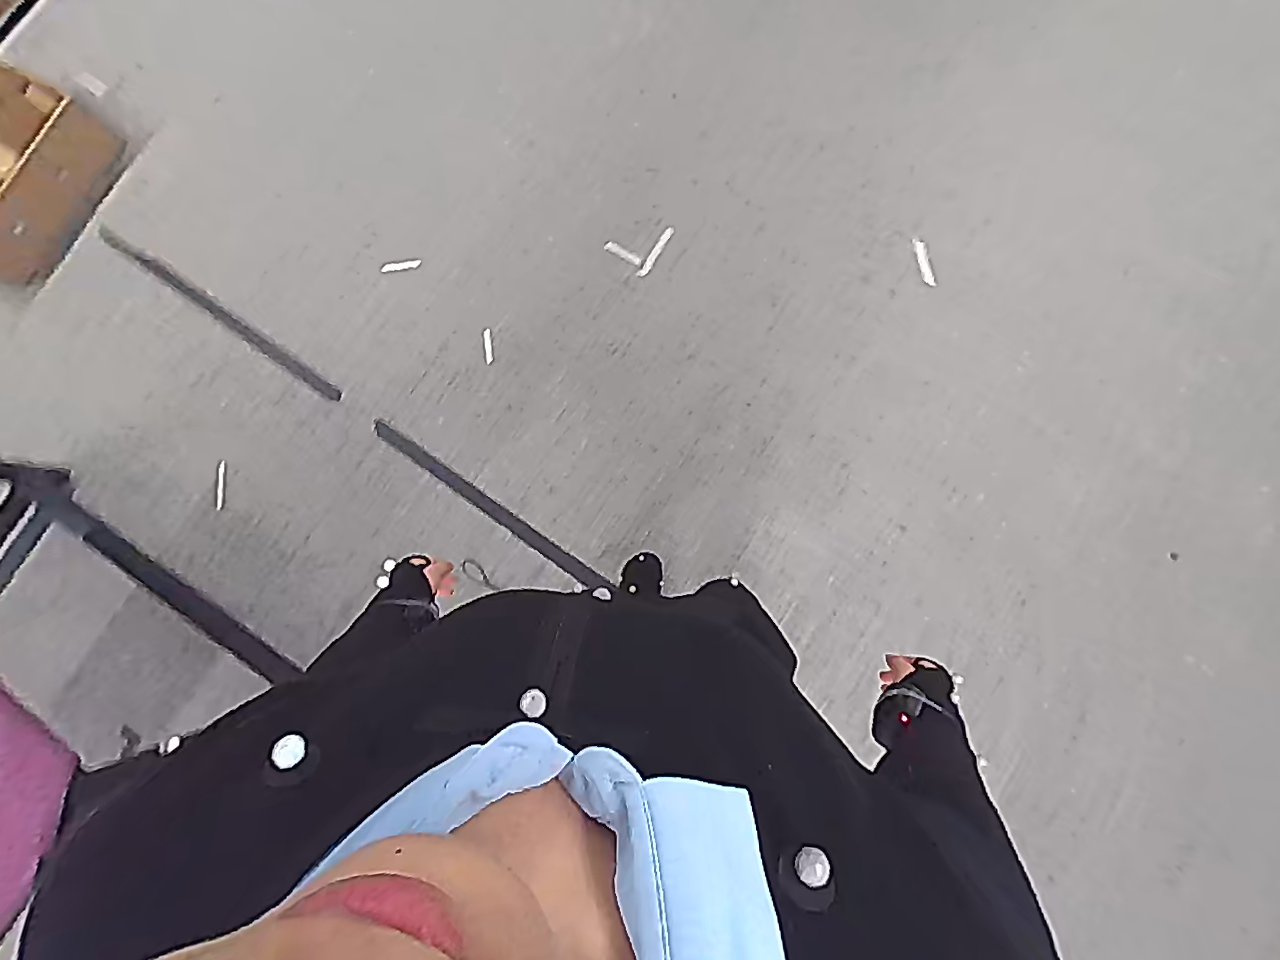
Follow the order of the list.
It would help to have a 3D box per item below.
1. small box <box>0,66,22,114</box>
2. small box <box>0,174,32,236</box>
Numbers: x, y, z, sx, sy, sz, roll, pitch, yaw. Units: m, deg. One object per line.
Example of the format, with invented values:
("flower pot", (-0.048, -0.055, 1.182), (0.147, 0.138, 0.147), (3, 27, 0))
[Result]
("small box", (-1.944, -1.160, 1.533), (0.179, 0.176, 0.168), (29, 85, 8))
("small box", (-2.078, -0.899, 1.672), (0.179, 0.176, 0.168), (39, 85, 8))
